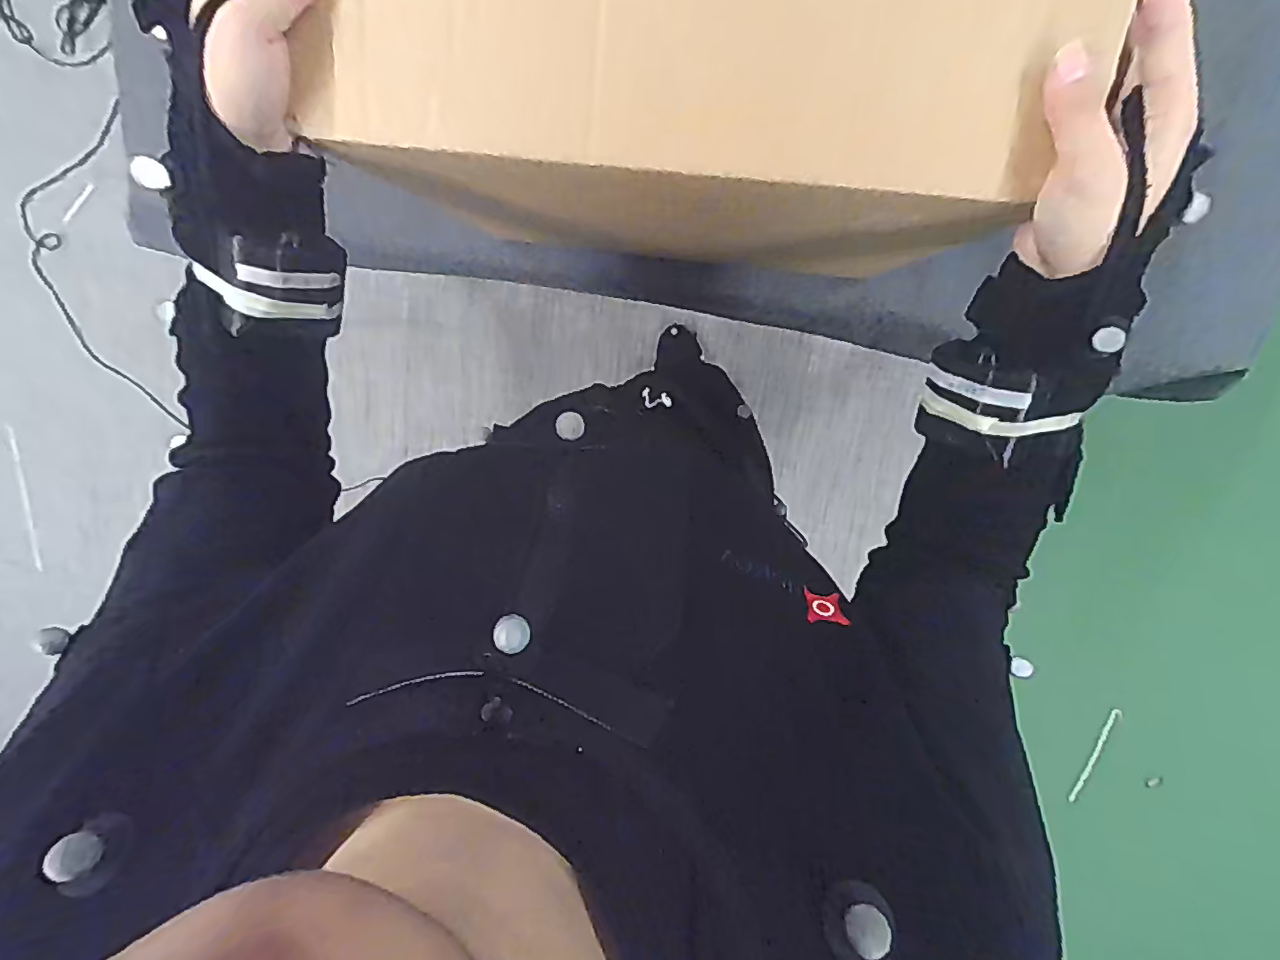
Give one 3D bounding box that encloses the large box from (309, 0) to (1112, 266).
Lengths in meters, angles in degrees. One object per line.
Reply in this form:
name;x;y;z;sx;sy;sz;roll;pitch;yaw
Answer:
large box;0.044;-0.352;0.392;0.408;0.320;0.320;7;105;3
